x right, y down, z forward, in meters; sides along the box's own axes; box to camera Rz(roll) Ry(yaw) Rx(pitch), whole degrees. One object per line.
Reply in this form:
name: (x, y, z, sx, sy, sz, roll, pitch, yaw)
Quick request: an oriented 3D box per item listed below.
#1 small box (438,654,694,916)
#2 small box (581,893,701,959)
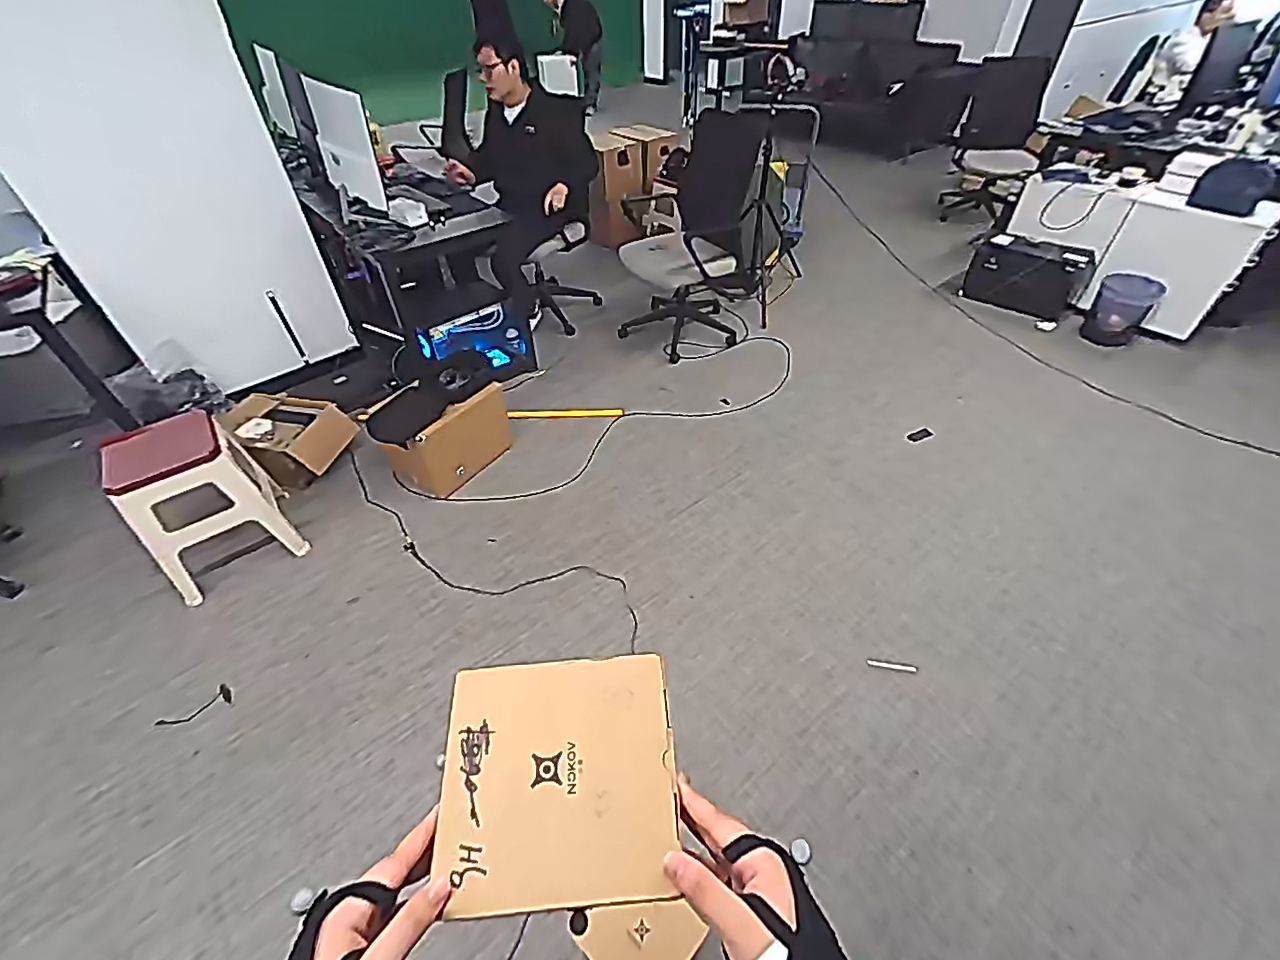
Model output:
small box: (-0.056, 0.268, 0.476, 0.179, 0.176, 0.168, -5, 52, -3)
small box: (0.001, 0.943, 1.087, 0.179, 0.176, 0.168, -34, 53, -28)
